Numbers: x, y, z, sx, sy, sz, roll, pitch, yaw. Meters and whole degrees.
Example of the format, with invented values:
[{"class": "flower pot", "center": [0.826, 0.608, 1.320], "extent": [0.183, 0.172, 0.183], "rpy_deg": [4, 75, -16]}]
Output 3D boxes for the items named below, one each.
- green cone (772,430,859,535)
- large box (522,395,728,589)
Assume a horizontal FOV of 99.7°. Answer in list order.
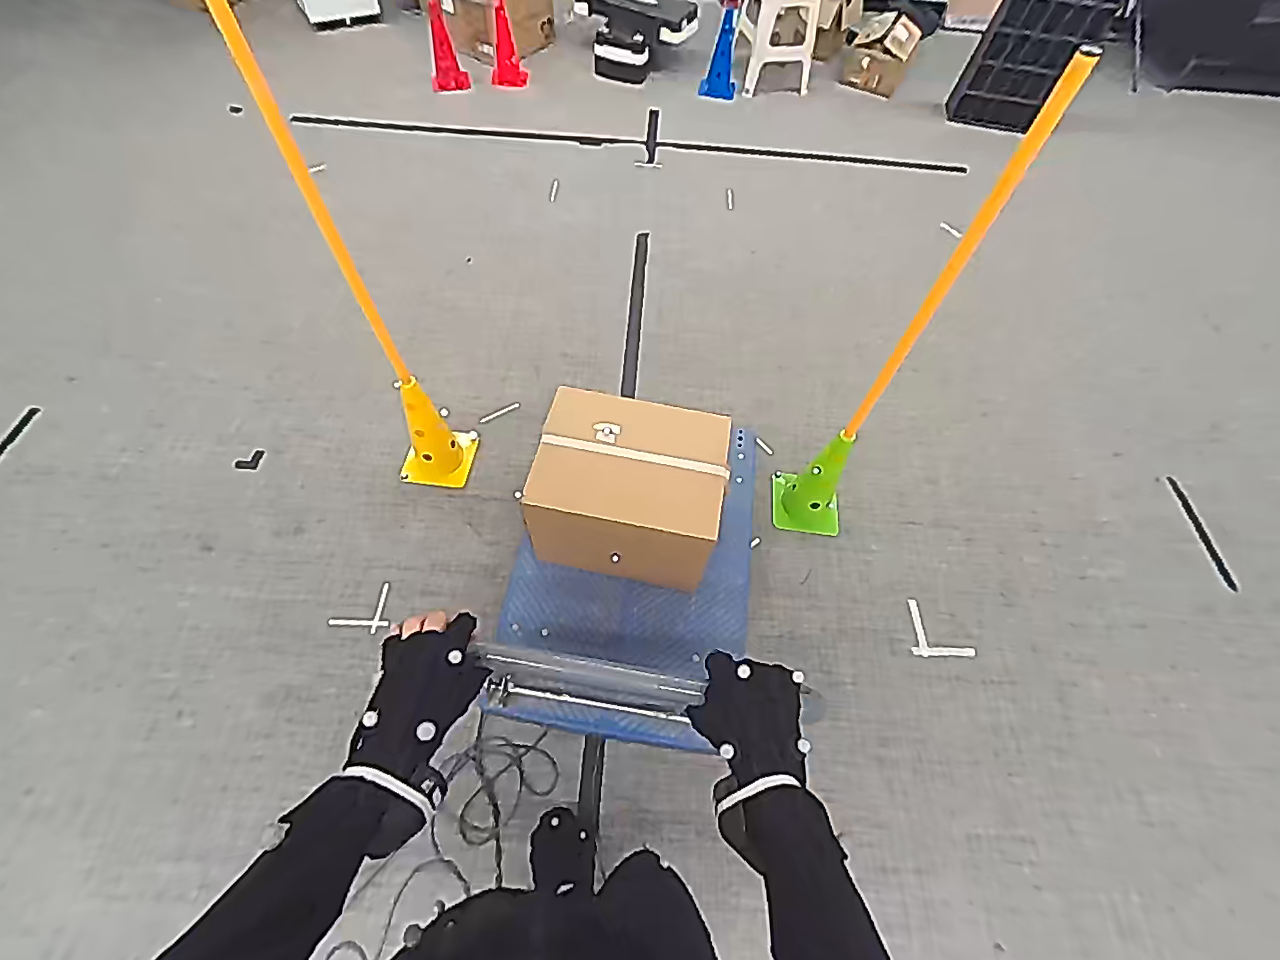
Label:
[{"class": "green cone", "center": [0.521, -0.017, 1.529], "extent": [0.202, 0.368, 0.200], "rpy_deg": [8, 59, 0]}, {"class": "large box", "center": [-0.024, 0.039, 1.295], "extent": [0.408, 0.320, 0.320], "rpy_deg": [11, 59, 4]}]
